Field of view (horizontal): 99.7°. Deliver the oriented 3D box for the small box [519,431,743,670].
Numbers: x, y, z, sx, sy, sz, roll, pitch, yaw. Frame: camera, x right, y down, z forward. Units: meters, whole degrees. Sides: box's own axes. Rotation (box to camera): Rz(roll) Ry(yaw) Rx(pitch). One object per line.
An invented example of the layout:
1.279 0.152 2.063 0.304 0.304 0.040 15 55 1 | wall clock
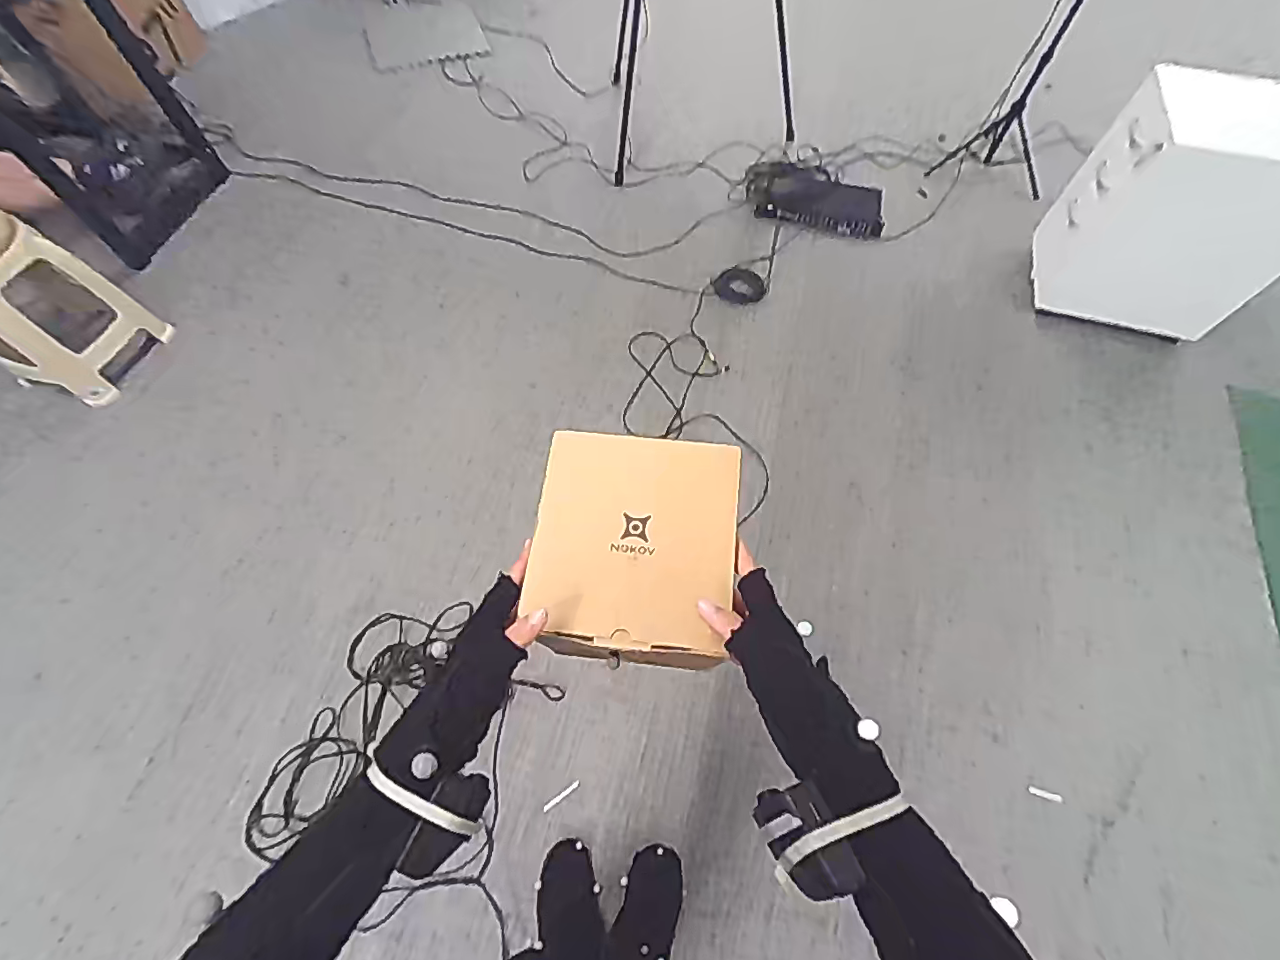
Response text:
0.000 0.075 0.510 0.168 0.176 0.179 5 68 4 | small box
